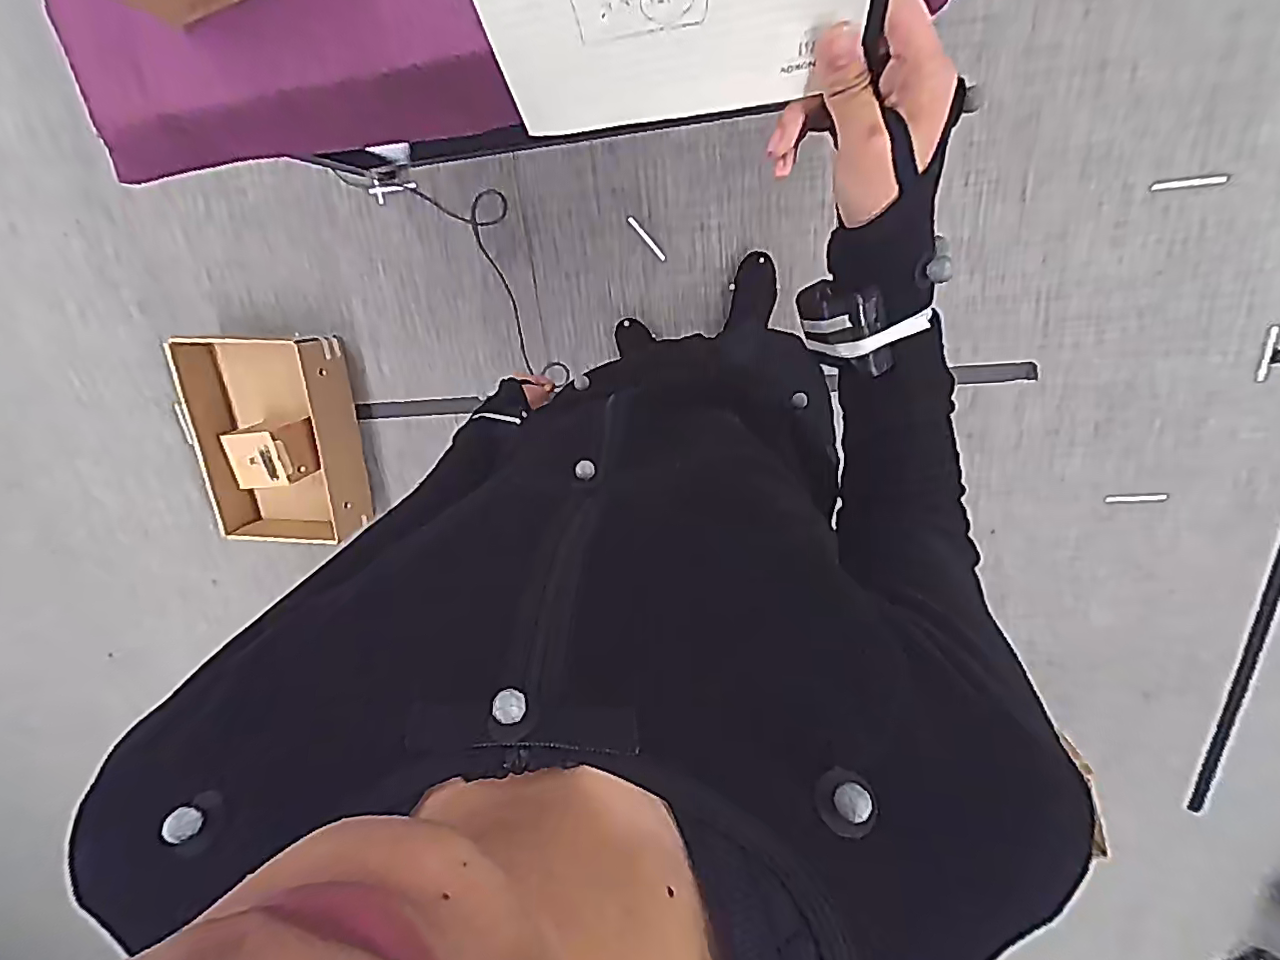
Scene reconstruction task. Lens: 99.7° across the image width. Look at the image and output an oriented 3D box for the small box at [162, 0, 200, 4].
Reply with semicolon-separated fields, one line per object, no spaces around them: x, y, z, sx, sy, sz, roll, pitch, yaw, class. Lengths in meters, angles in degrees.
-0.565;-0.680;0.603;0.168;0.176;0.179;-11;109;10;small box
